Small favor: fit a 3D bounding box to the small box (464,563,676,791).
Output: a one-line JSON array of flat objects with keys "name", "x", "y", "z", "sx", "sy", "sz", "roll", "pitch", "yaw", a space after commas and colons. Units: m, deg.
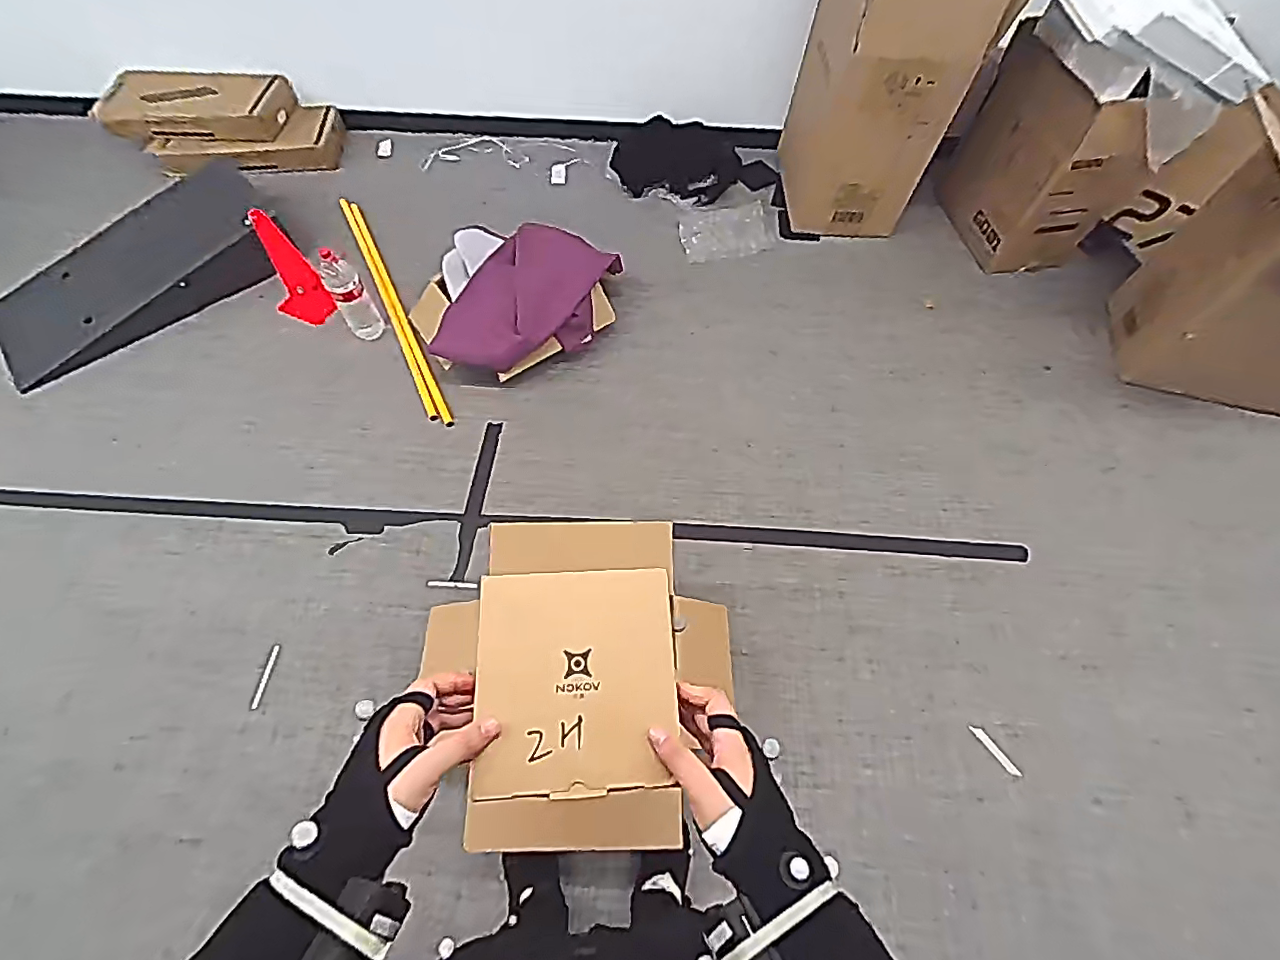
[{"name": "small box", "x": -0.061, "y": 0.189, "z": 0.522, "sx": 0.168, "sy": 0.176, "sz": 0.179, "roll": -2, "pitch": 67, "yaw": -3}]
